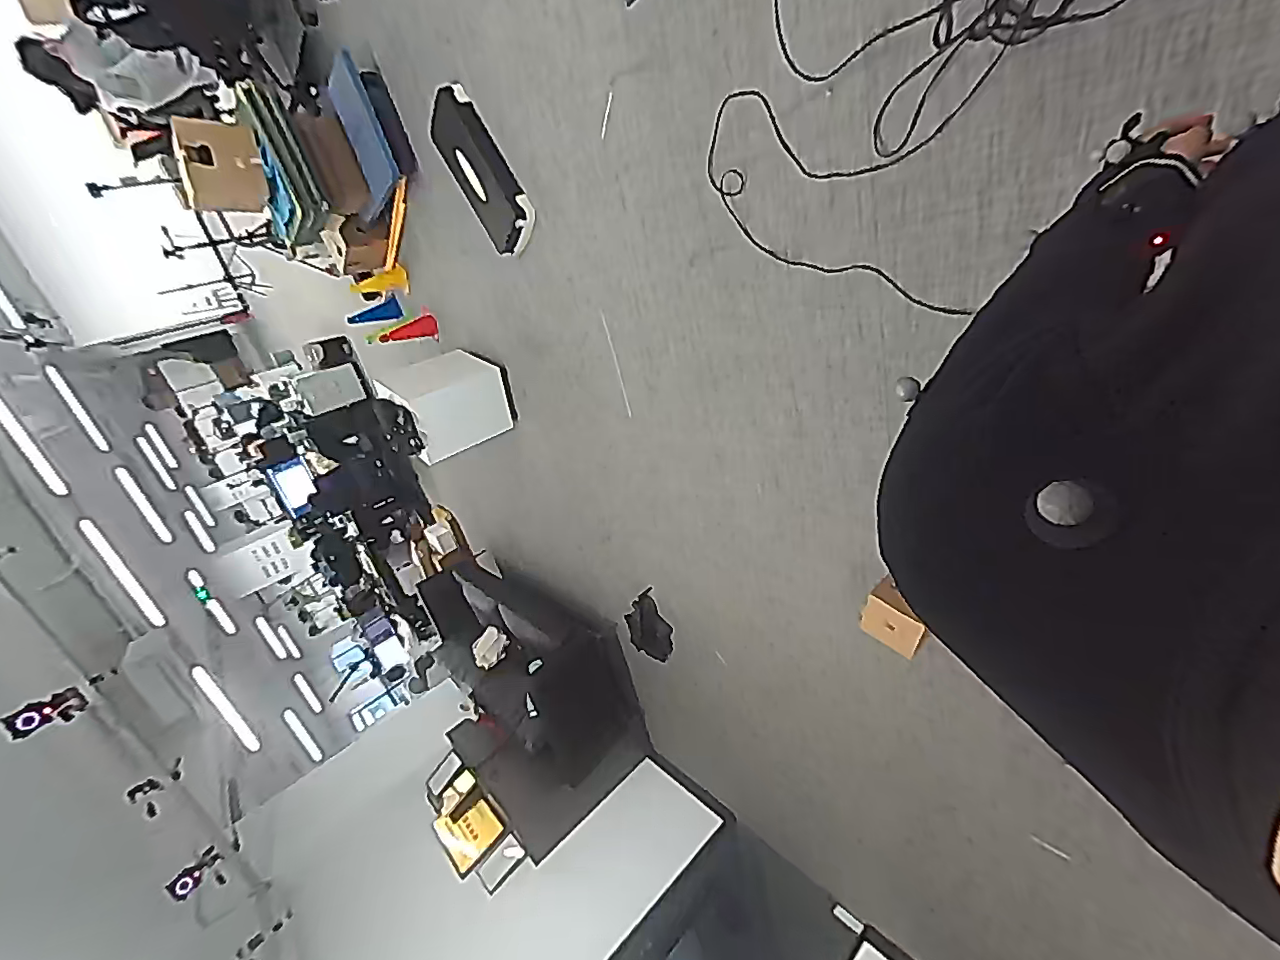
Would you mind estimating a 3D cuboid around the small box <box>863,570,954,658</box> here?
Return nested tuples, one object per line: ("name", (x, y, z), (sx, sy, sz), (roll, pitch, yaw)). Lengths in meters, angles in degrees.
("small box", (0.822, 0.401, 1.660), (0.179, 0.176, 0.168), (31, 139, 37))
